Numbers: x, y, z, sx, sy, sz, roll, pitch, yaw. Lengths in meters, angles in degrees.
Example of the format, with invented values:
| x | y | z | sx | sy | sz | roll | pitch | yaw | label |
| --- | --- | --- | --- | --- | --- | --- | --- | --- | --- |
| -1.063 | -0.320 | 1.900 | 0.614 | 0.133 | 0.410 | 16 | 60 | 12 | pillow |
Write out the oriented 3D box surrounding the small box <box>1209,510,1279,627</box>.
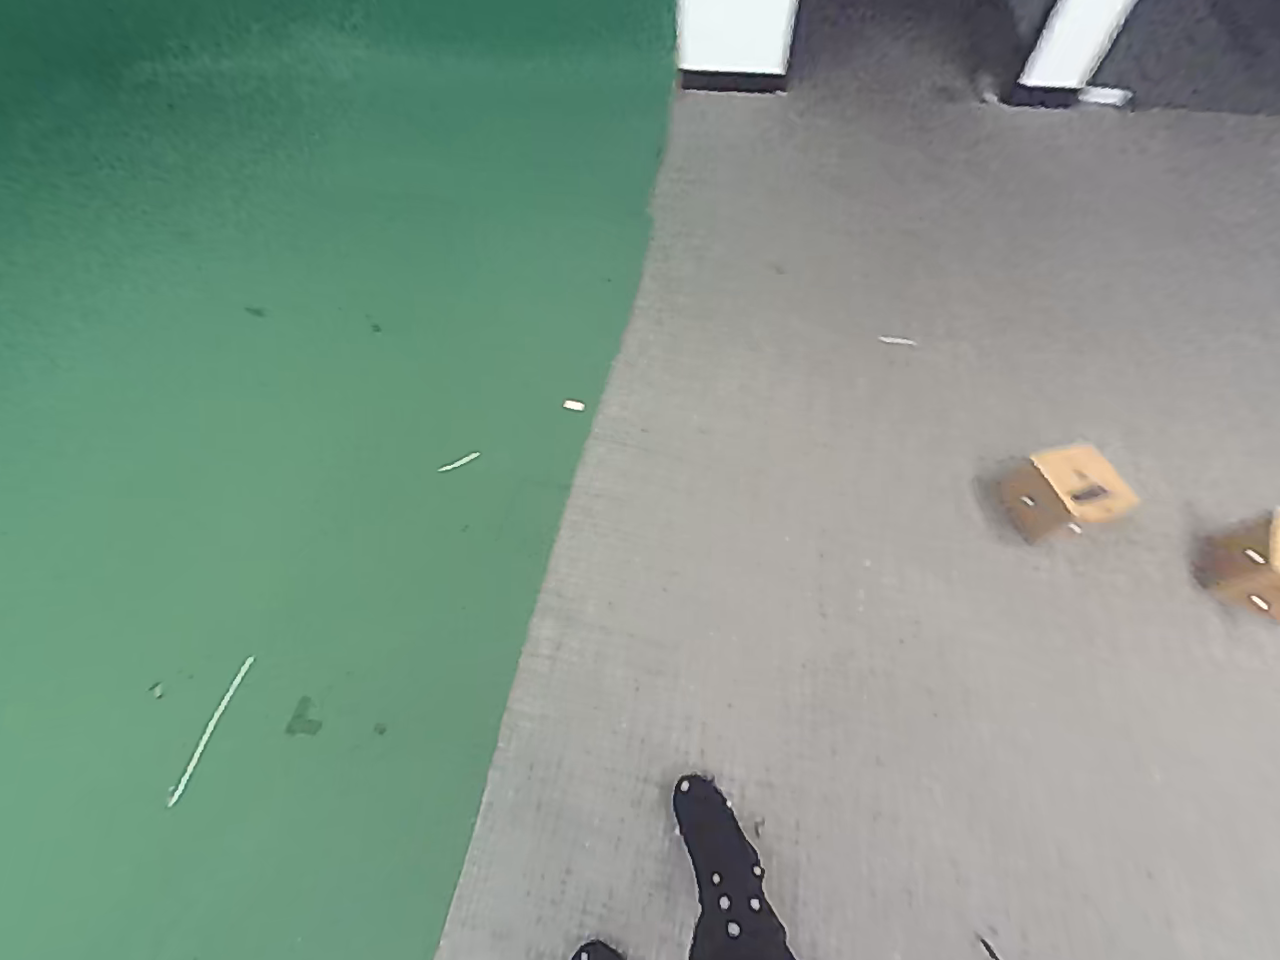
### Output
| x | y | z | sx | sy | sz | roll | pitch | yaw | label |
| --- | --- | --- | --- | --- | --- | --- | --- | --- | --- |
| 1.453 | 0.204 | 1.220 | 0.168 | 0.176 | 0.179 | 27 | 66 | 16 | small box |
